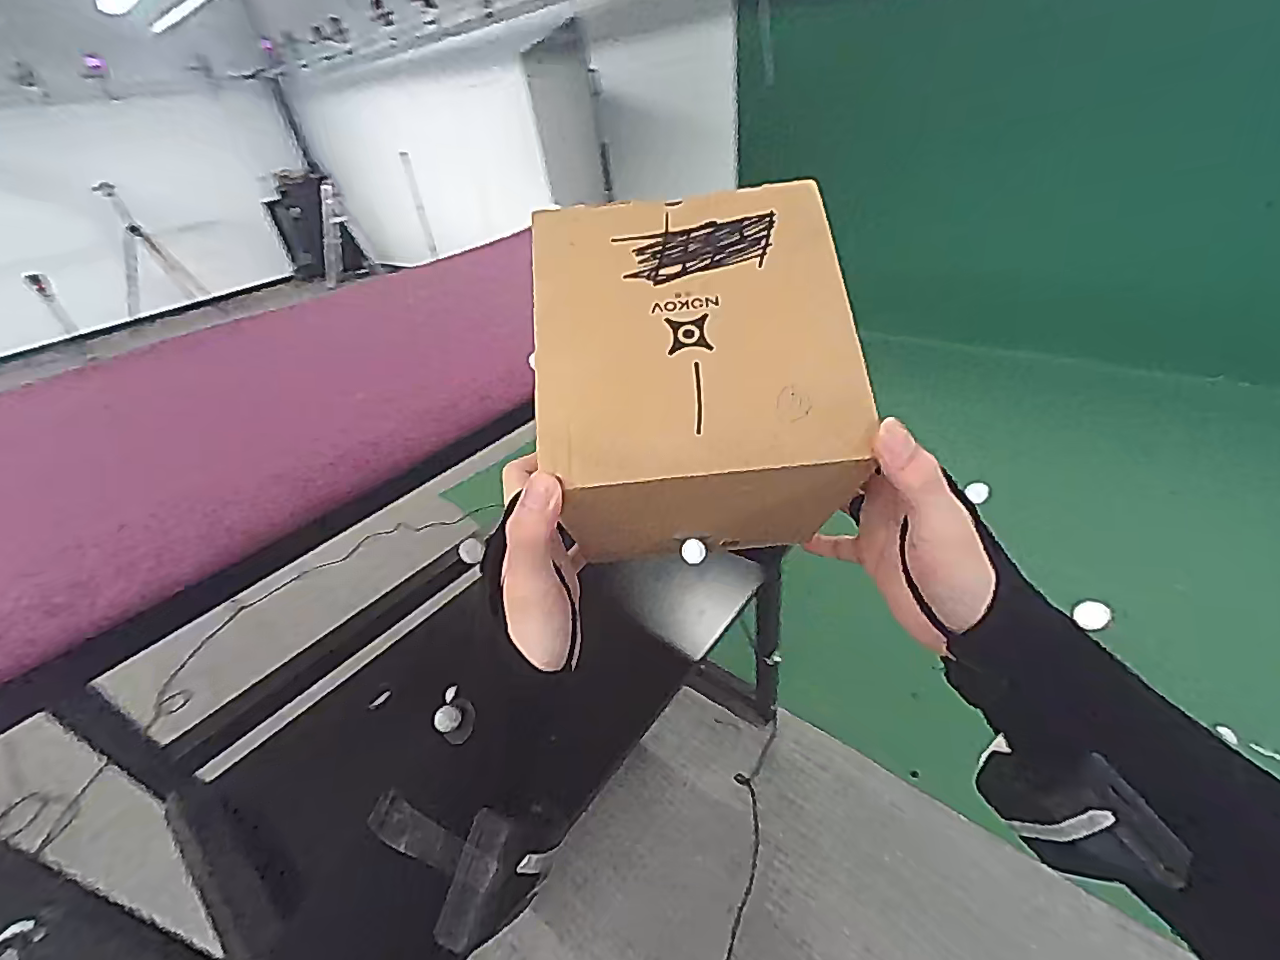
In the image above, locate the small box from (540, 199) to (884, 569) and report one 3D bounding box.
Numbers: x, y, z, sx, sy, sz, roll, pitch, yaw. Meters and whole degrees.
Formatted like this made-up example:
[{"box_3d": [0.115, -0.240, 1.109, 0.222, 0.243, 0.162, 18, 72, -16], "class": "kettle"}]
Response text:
[{"box_3d": [0.035, -0.047, 0.360, 0.168, 0.176, 0.179, -5, 70, 4], "class": "small box"}]
